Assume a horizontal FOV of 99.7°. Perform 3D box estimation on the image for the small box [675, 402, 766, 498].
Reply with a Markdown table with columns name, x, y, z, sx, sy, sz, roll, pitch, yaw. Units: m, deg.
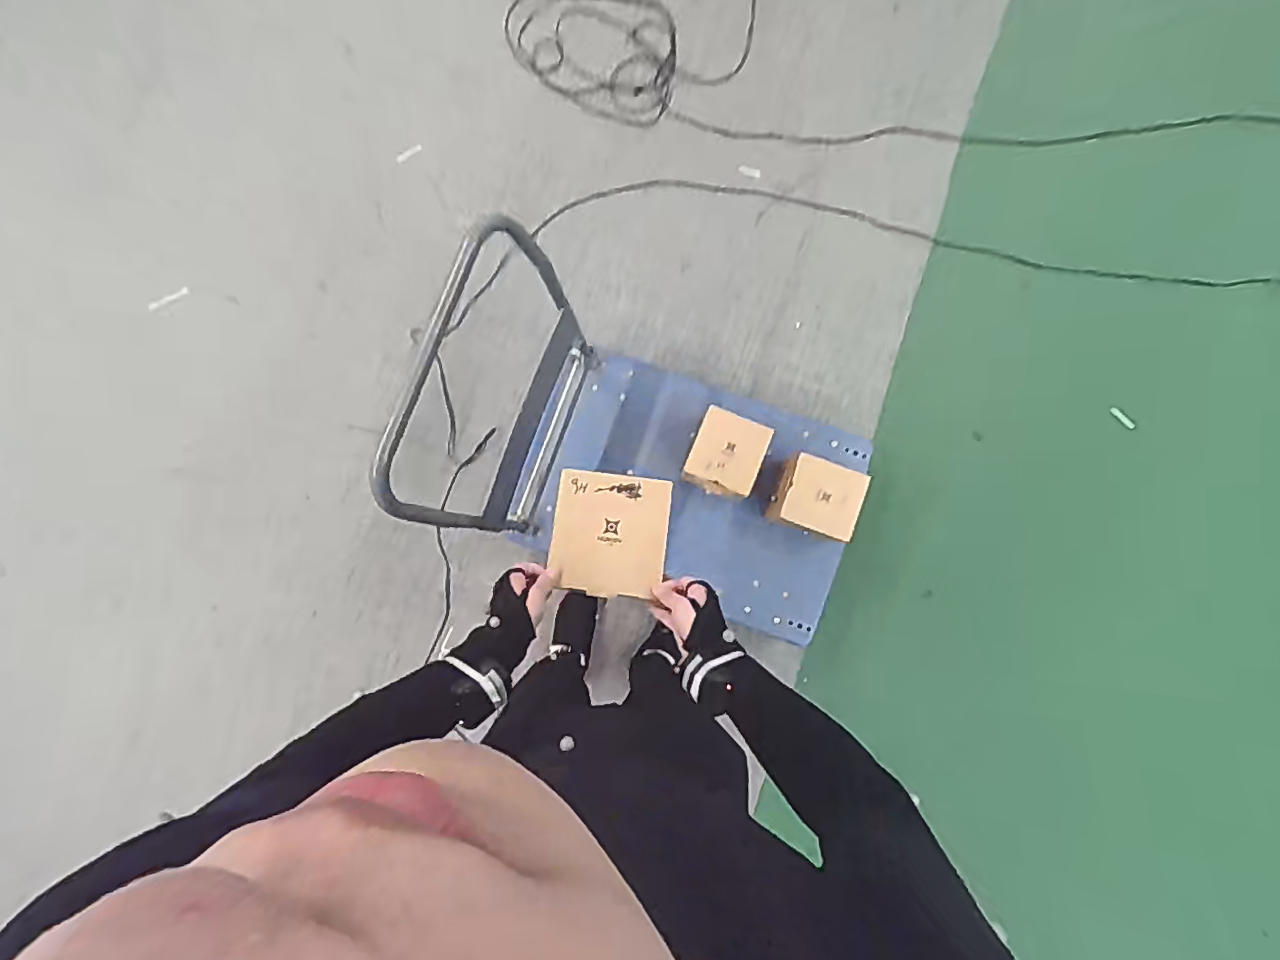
| name | x | y | z | sx | sy | sz | roll | pitch | yaw |
| --- | --- | --- | --- | --- | --- | --- | --- | --- | --- |
| small box | 0.192 | -0.068 | 1.353 | 0.168 | 0.176 | 0.179 | 23 | 85 | 3 |

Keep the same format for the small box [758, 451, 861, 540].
| name | x | y | z | sx | sy | sz | roll | pitch | yaw |
| --- | --- | --- | --- | --- | --- | --- | --- | --- | --- |
| small box | 0.411 | 0.045 | 1.341 | 0.179 | 0.176 | 0.168 | 21 | 85 | 3 |

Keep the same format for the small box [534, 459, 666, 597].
| name | x | y | z | sx | sy | sz | roll | pitch | yaw |
| --- | --- | --- | --- | --- | --- | --- | --- | --- | --- |
| small box | -0.056 | 0.079 | 0.839 | 0.168 | 0.176 | 0.179 | 8 | 80 | -1 |
